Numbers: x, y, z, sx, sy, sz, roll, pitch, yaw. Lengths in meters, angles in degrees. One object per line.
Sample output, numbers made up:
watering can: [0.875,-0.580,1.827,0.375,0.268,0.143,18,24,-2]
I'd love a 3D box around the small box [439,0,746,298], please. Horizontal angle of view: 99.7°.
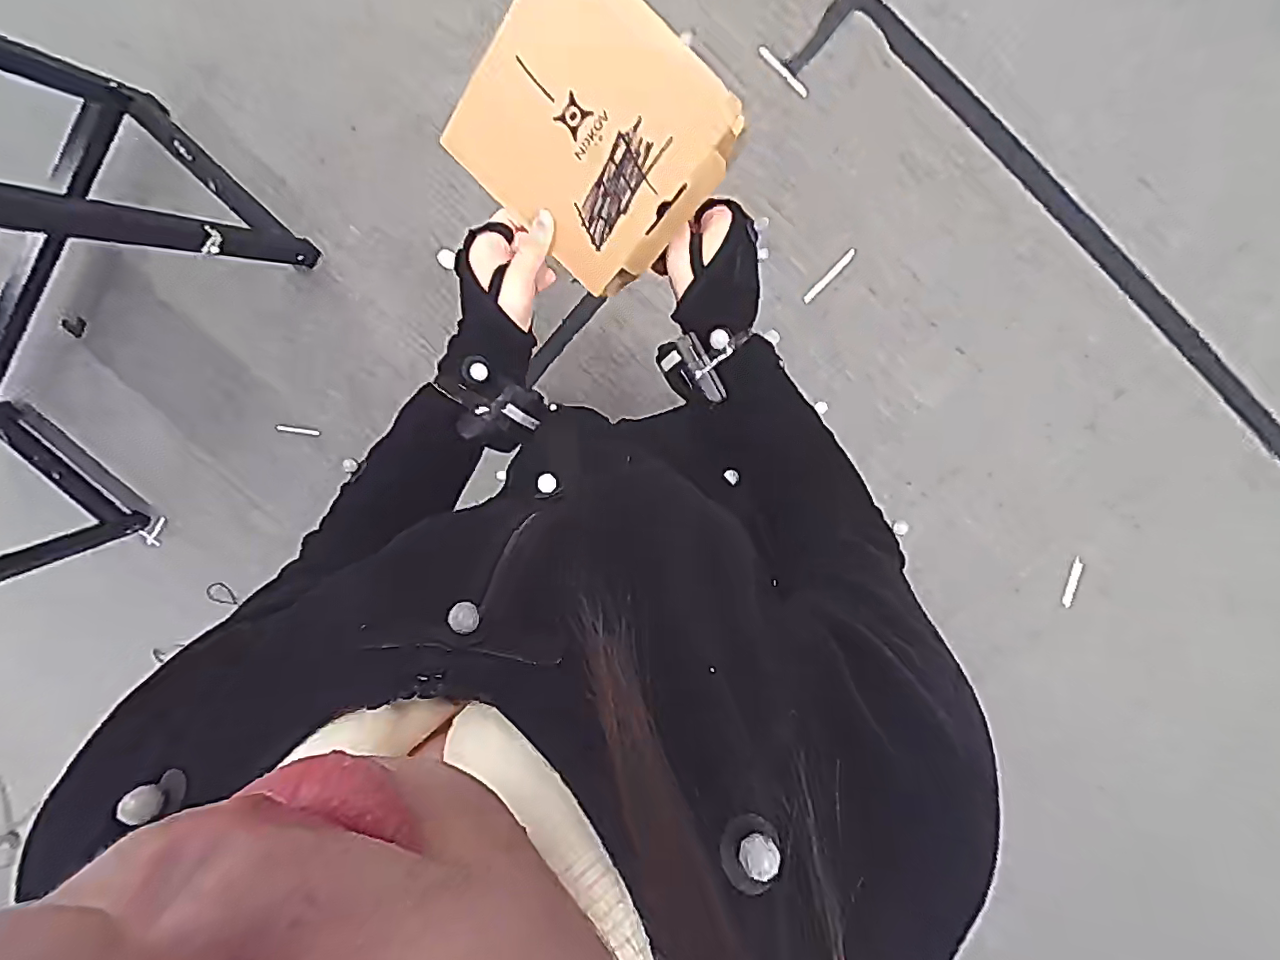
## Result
small box: [-0.026,-0.289,0.466,0.179,0.176,0.168,41,115,-9]
